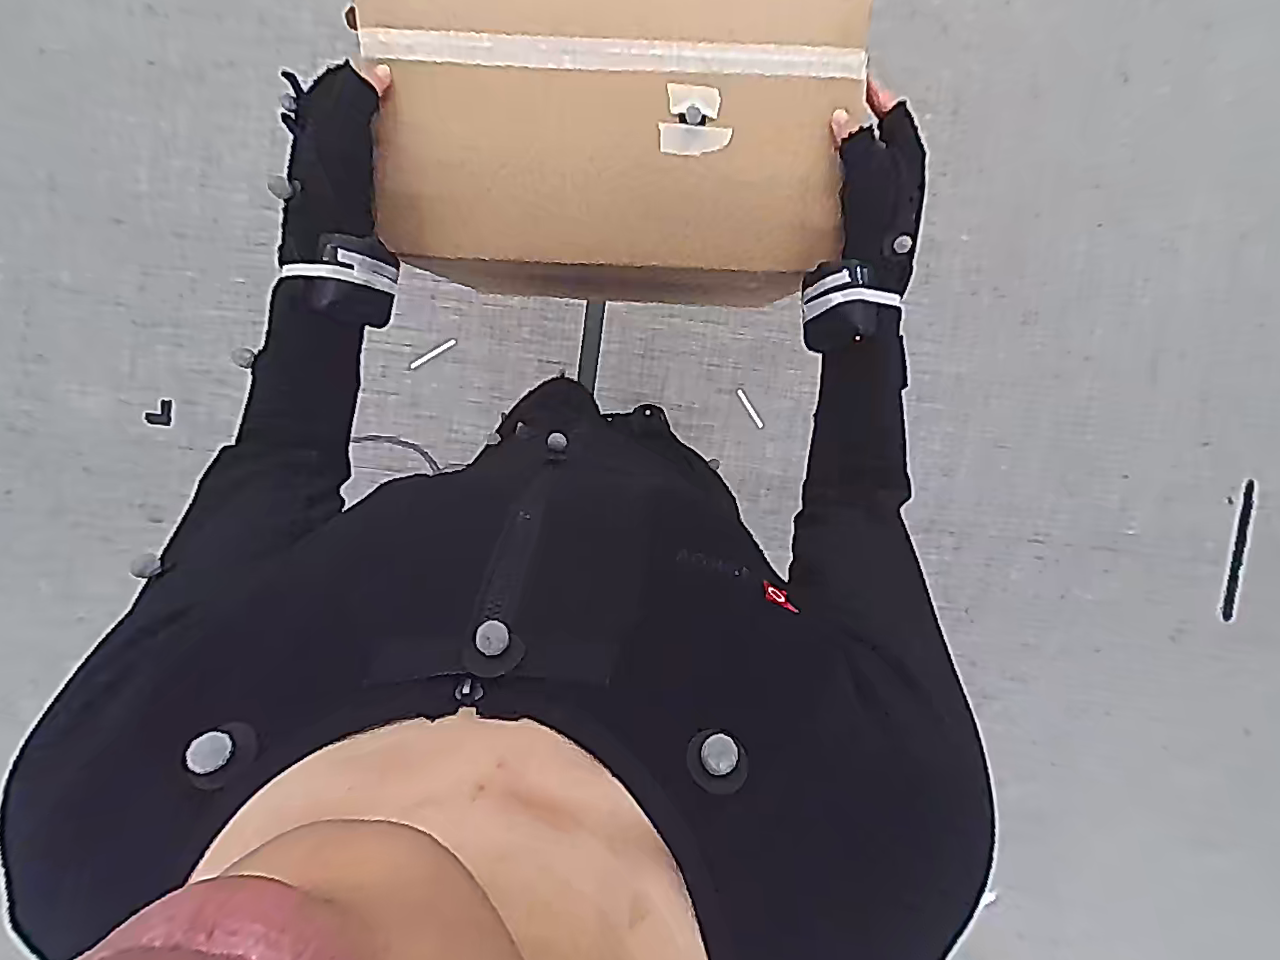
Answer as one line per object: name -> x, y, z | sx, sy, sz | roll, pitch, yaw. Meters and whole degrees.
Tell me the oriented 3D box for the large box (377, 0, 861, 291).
large box -> -0.020, -0.389, 0.595 | 0.408, 0.320, 0.320 | 2, 104, -1
